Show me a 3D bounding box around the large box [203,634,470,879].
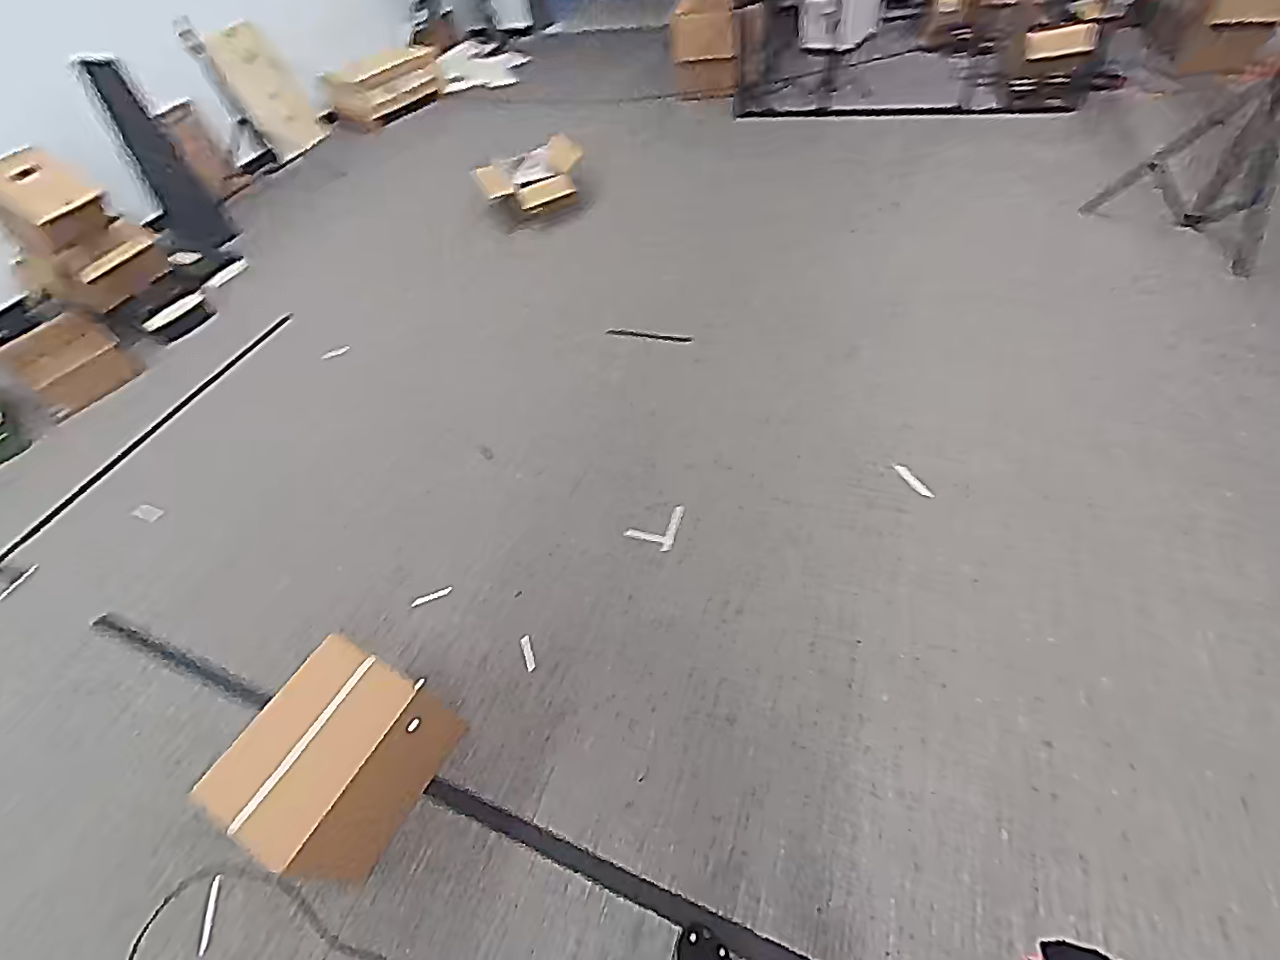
[{"bbox_3d":[-0.692,0.659,1.307,0.320,0.320,0.408,19,57,23],"label":"large box"}]
